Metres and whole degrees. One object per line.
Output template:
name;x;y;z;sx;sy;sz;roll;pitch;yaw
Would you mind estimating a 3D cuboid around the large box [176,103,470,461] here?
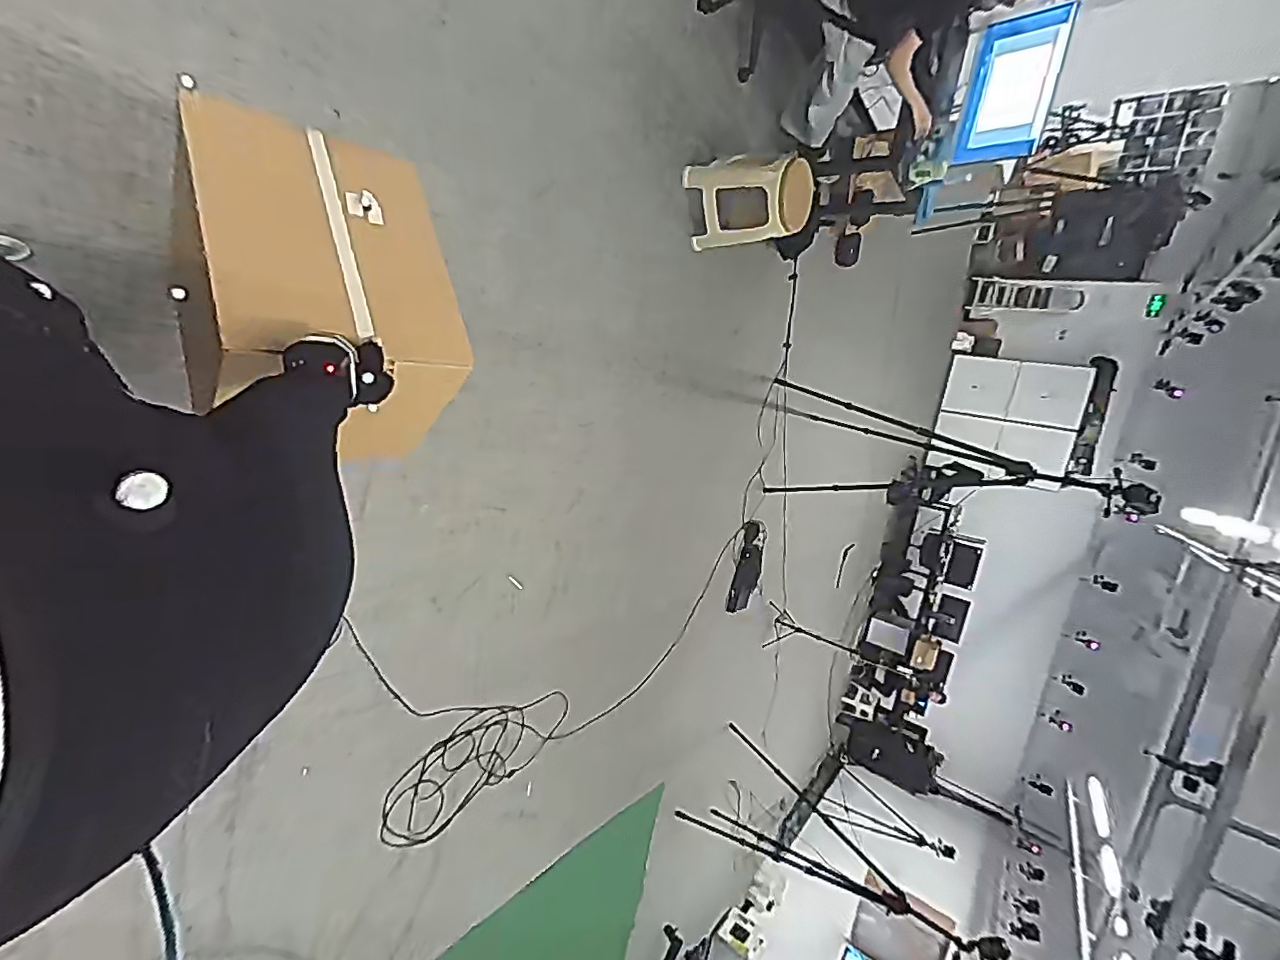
large box;-0.530;-0.281;0.884;0.320;0.320;0.408;-6;69;-45
